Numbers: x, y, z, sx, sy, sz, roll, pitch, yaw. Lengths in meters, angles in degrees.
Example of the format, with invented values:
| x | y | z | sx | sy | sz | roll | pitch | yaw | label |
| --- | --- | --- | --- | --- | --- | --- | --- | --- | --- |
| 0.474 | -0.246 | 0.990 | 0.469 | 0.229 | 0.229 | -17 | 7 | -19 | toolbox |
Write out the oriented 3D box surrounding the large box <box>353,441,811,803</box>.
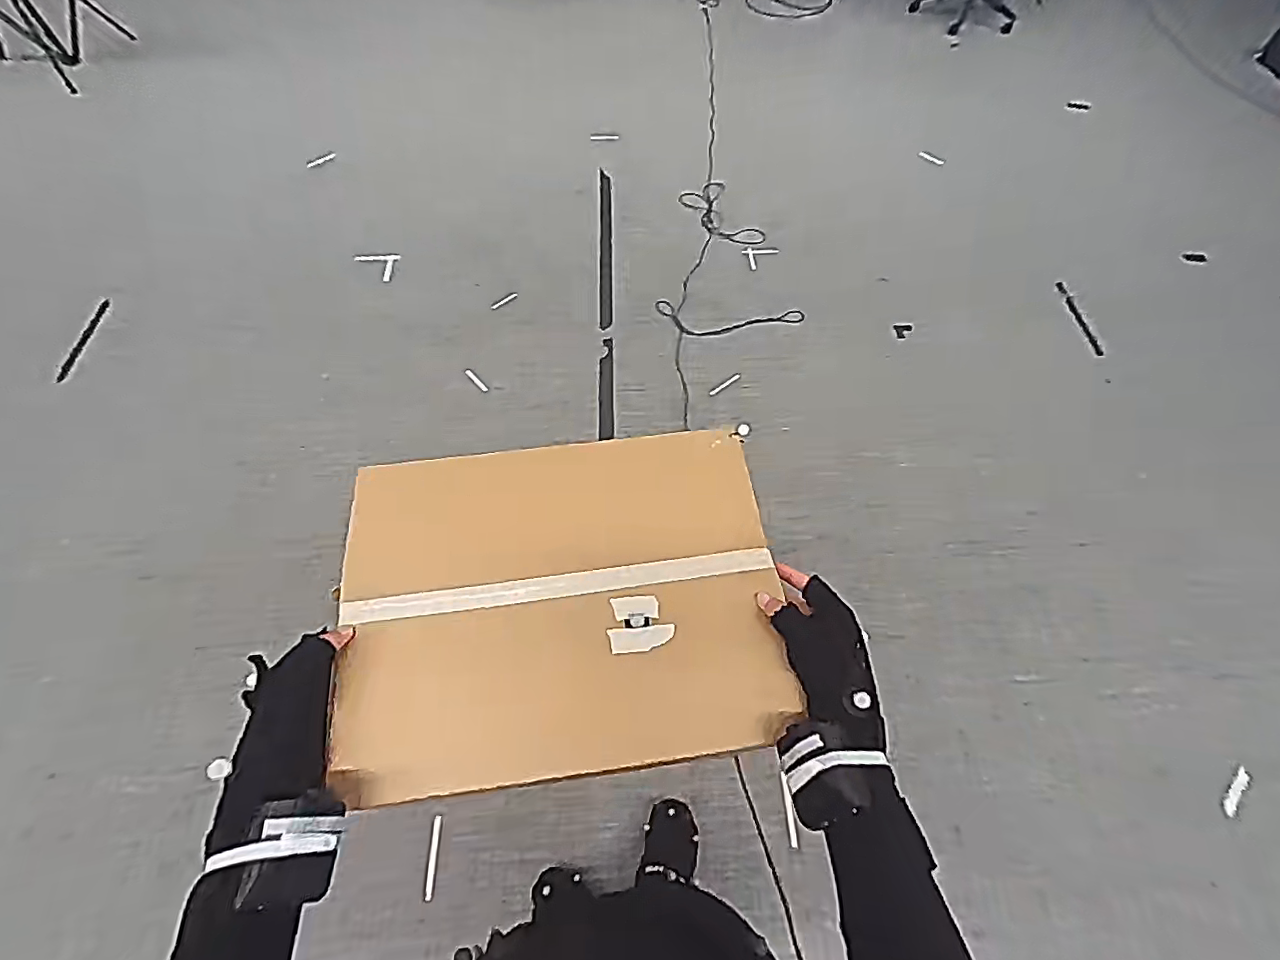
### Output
| x | y | z | sx | sy | sz | roll | pitch | yaw | label |
| --- | --- | --- | --- | --- | --- | --- | --- | --- | --- |
| -0.067 | 0.181 | 0.661 | 0.408 | 0.320 | 0.320 | -6 | 62 | -5 | large box |
